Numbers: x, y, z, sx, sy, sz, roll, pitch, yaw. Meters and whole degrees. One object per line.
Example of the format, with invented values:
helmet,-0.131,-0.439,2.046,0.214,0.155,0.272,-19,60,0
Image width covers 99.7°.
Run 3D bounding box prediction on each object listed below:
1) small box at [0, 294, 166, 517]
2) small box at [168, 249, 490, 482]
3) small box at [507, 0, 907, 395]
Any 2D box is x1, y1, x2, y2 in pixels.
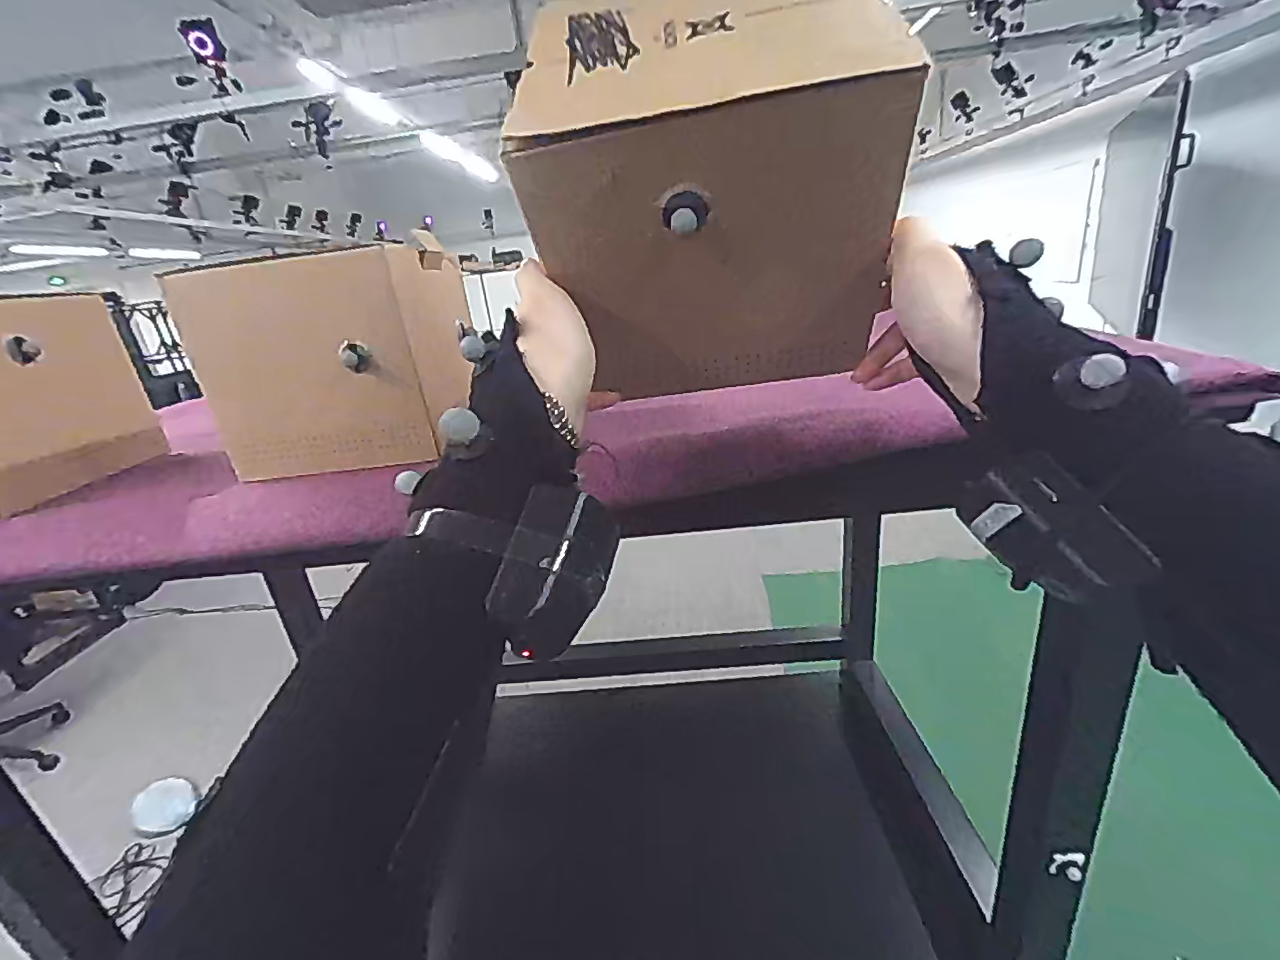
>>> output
small box,-0.594,-0.067,0.487,0.168,0.176,0.179,-5,21,1
small box,-0.254,-0.108,0.496,0.179,0.176,0.168,-7,20,3
small box,0.040,-0.170,0.339,0.179,0.176,0.168,-6,55,8
